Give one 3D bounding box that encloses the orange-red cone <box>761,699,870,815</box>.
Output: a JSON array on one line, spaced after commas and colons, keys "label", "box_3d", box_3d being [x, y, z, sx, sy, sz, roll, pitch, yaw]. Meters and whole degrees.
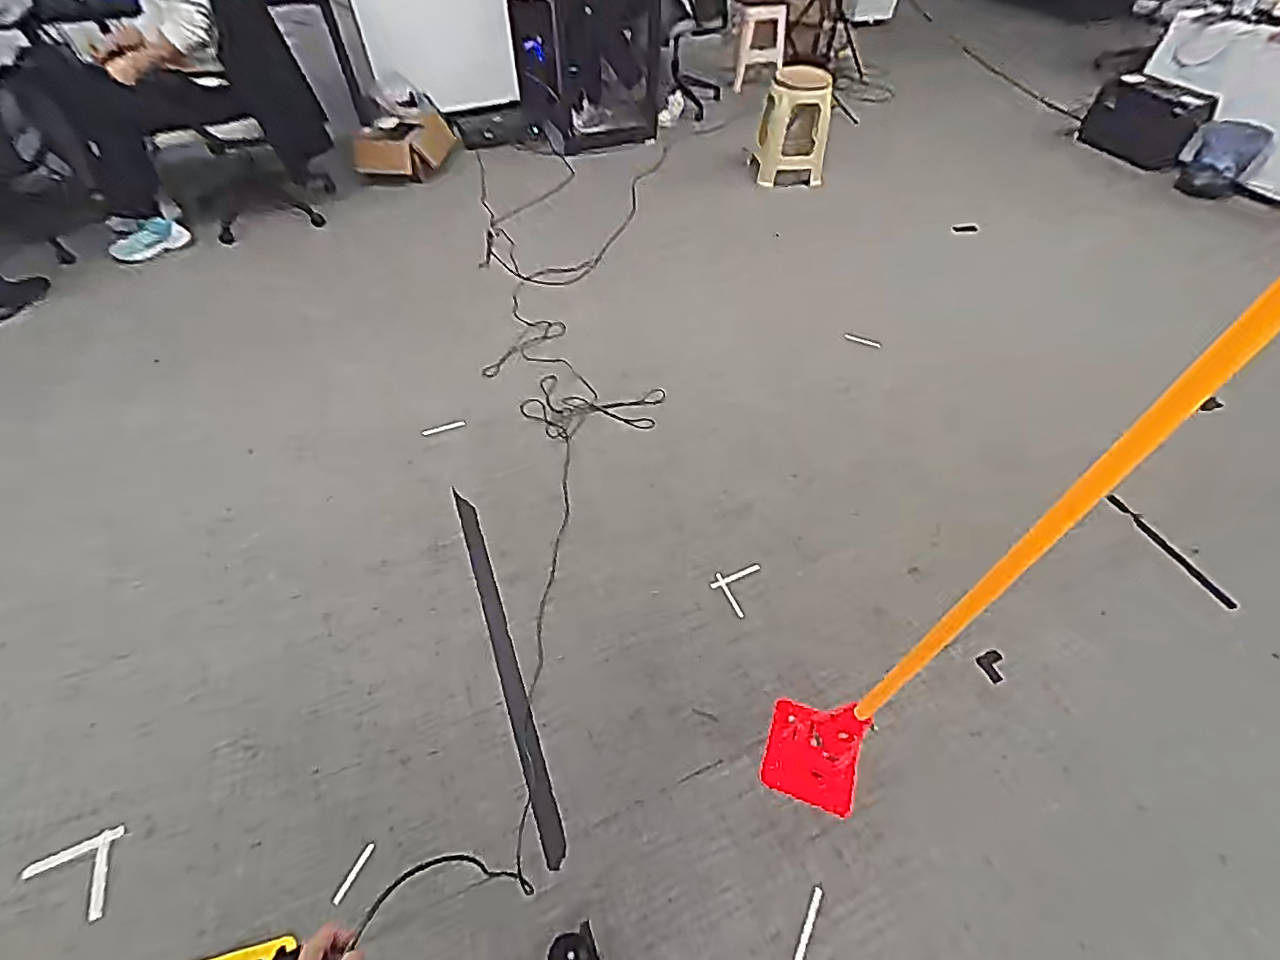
[{"label": "orange-red cone", "box_3d": [0.385, 0.512, 1.077, 0.198, 0.360, 0.199, 18, 56, 14]}]
